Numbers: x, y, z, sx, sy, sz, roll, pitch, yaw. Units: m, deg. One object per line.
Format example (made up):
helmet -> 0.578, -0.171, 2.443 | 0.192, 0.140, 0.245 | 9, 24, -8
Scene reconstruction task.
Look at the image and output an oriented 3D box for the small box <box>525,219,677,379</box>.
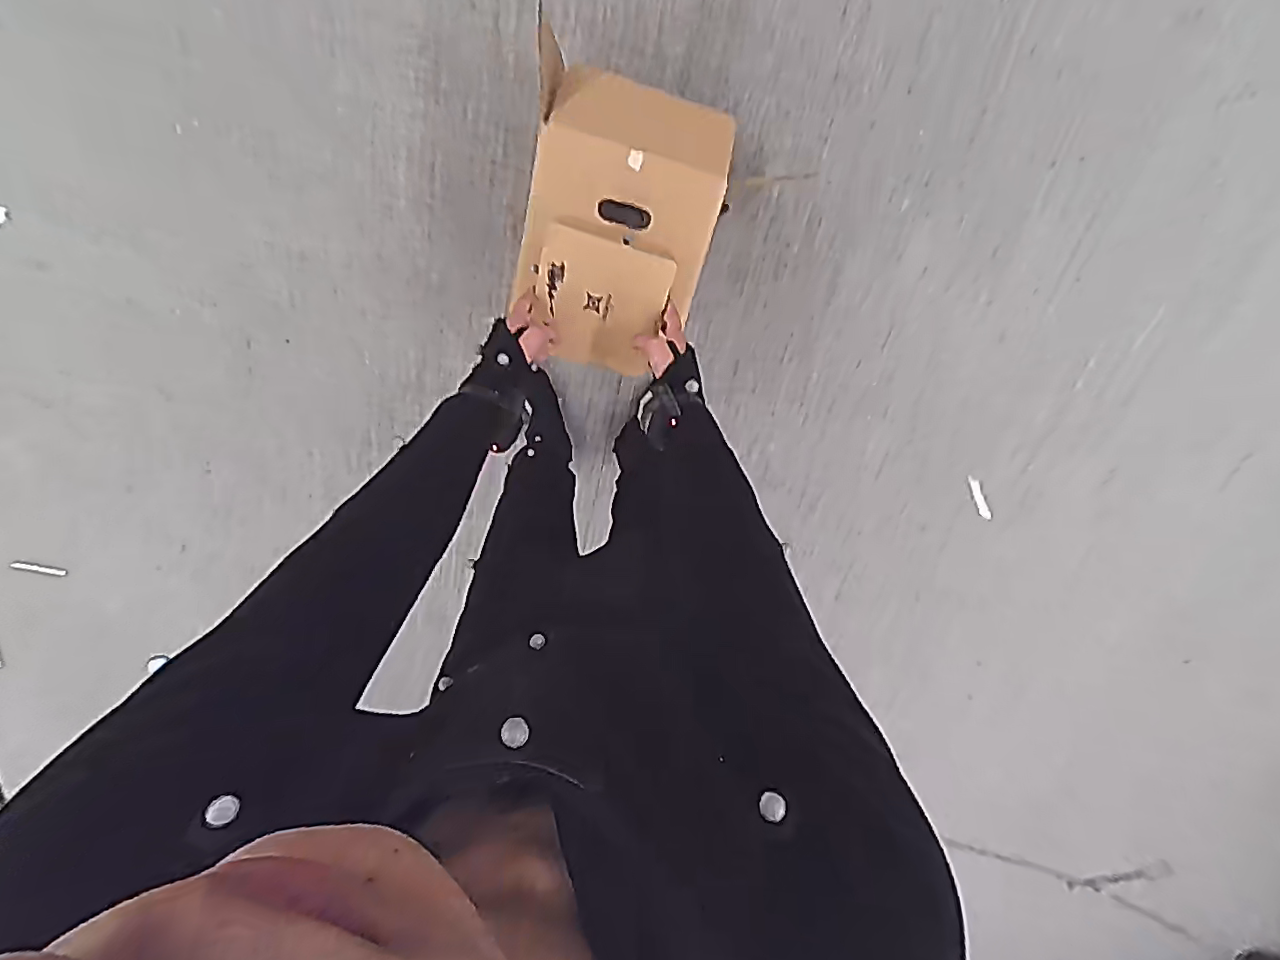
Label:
small box -> -0.059, -0.274, 0.805 | 0.179, 0.176, 0.168 | 14, 119, -10
